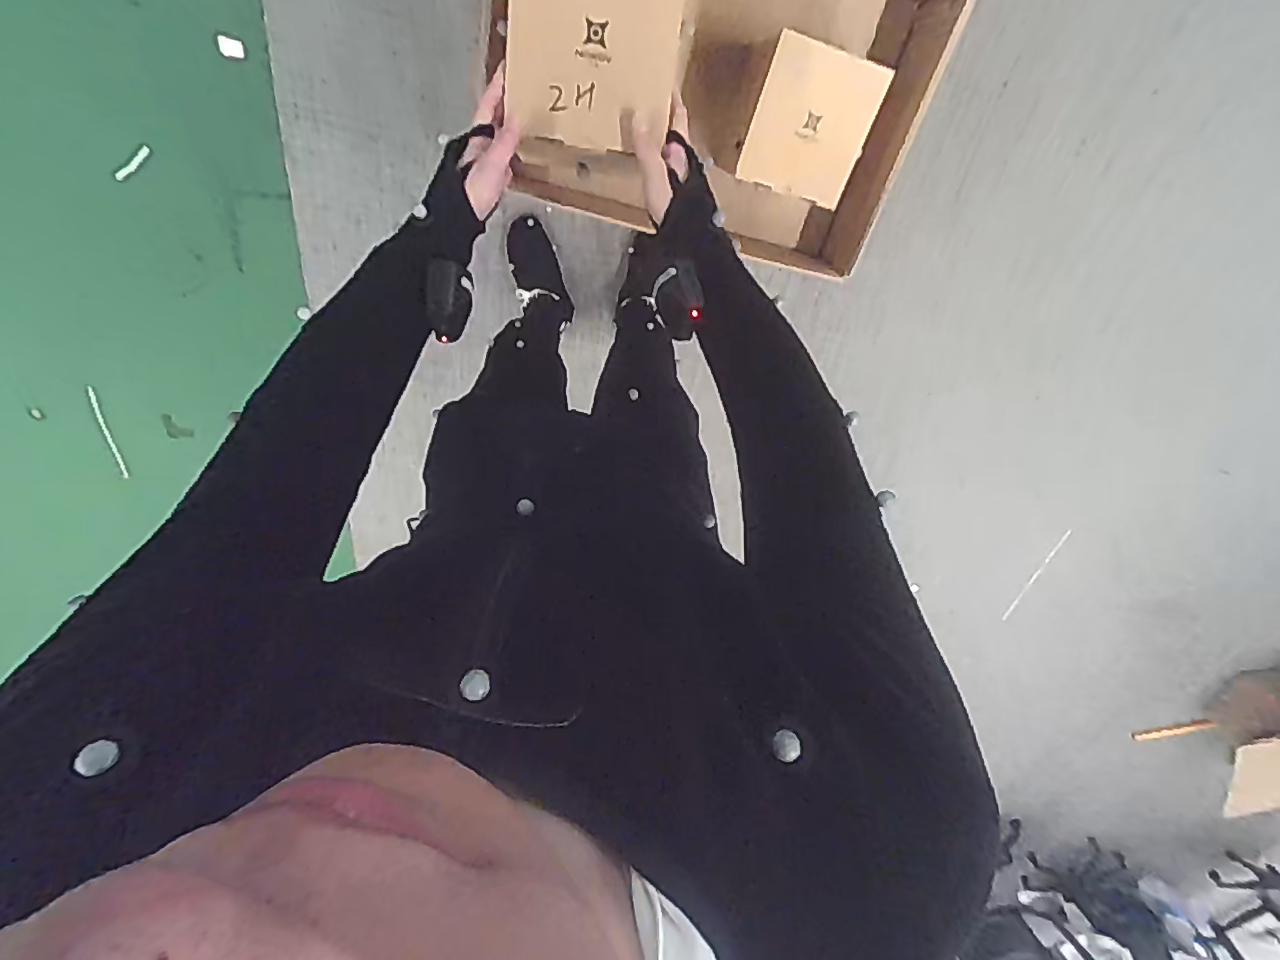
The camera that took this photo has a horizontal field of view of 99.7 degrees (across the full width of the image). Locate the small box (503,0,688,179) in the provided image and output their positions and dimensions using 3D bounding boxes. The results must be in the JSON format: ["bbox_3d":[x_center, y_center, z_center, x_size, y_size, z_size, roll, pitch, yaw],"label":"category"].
[{"bbox_3d":[-0.051,-0.448,0.586,0.168,0.176,0.179,6,111,-8],"label":"small box"}]
